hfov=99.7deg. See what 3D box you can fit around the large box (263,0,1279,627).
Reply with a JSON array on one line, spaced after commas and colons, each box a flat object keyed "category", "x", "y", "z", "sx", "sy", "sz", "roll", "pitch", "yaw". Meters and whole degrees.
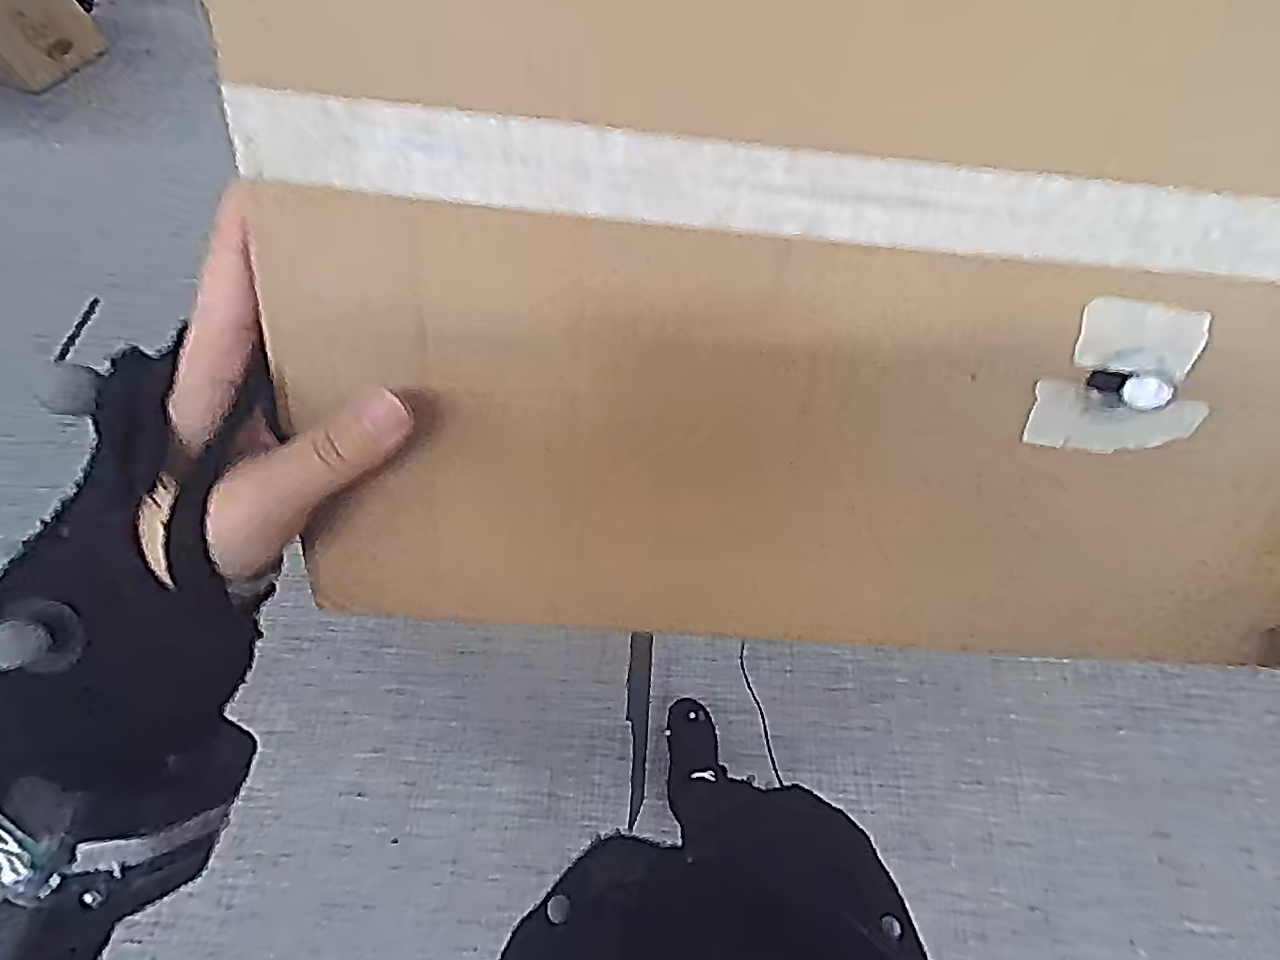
[{"category": "large box", "x": 0.087, "y": -0.140, "z": 0.306, "sx": 0.408, "sy": 0.320, "sz": 0.320, "roll": 3, "pitch": 23, "yaw": -4}]
